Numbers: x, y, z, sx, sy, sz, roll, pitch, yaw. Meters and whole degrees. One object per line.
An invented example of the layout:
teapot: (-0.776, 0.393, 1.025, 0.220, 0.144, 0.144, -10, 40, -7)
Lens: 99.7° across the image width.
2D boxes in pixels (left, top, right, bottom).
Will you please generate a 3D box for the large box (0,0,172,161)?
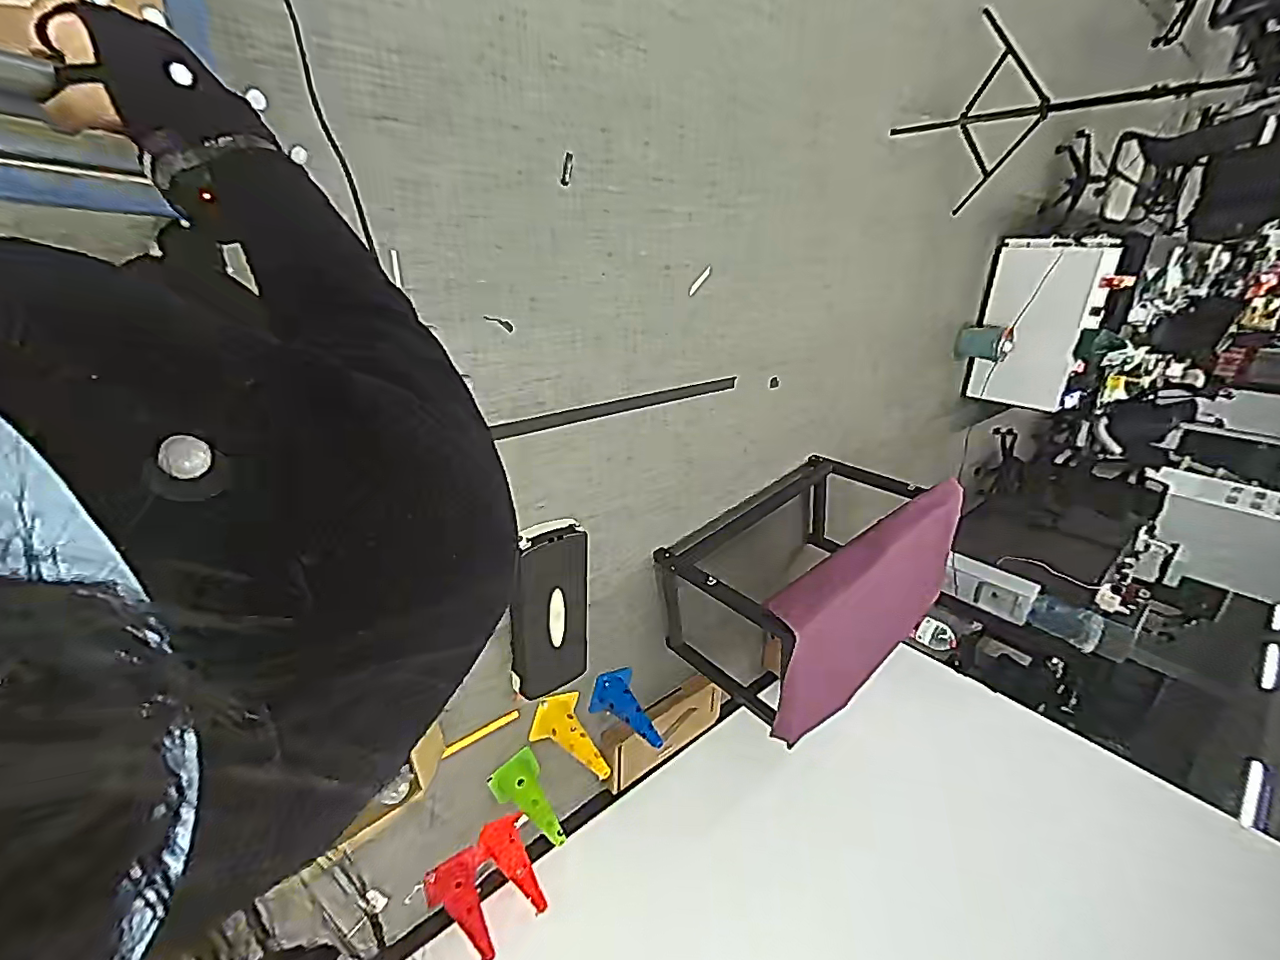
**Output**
large box: (-0.840, -0.599, 0.625, 0.408, 0.320, 0.320, -12, 115, -40)
